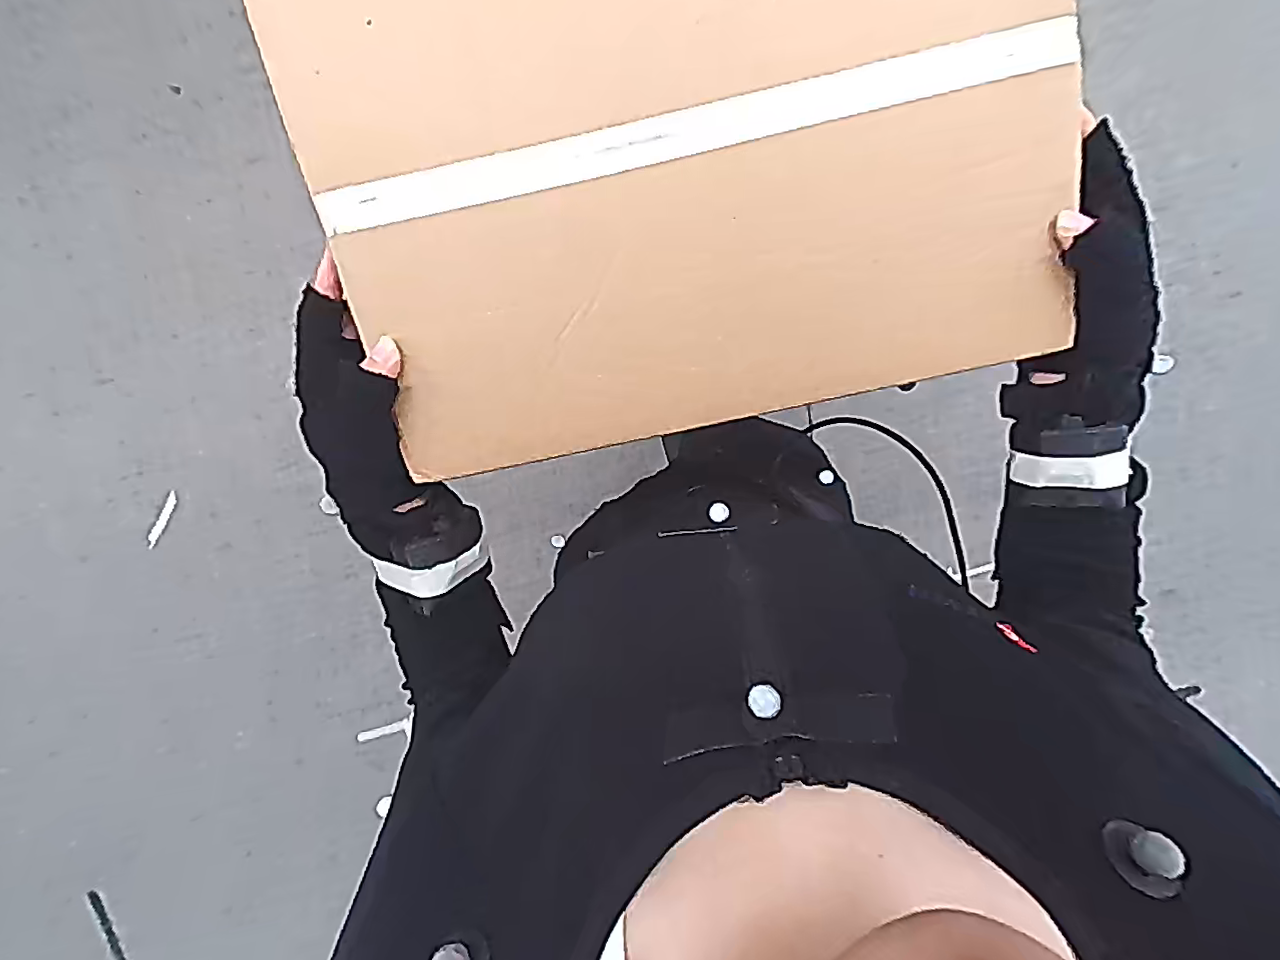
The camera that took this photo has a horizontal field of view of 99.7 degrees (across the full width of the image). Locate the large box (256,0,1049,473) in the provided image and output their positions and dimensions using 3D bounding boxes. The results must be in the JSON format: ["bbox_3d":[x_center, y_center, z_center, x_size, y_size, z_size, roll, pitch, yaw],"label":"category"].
[{"bbox_3d":[0.019,-0.233,0.437,0.408,0.320,0.320,-12,106,2],"label":"large box"}]
